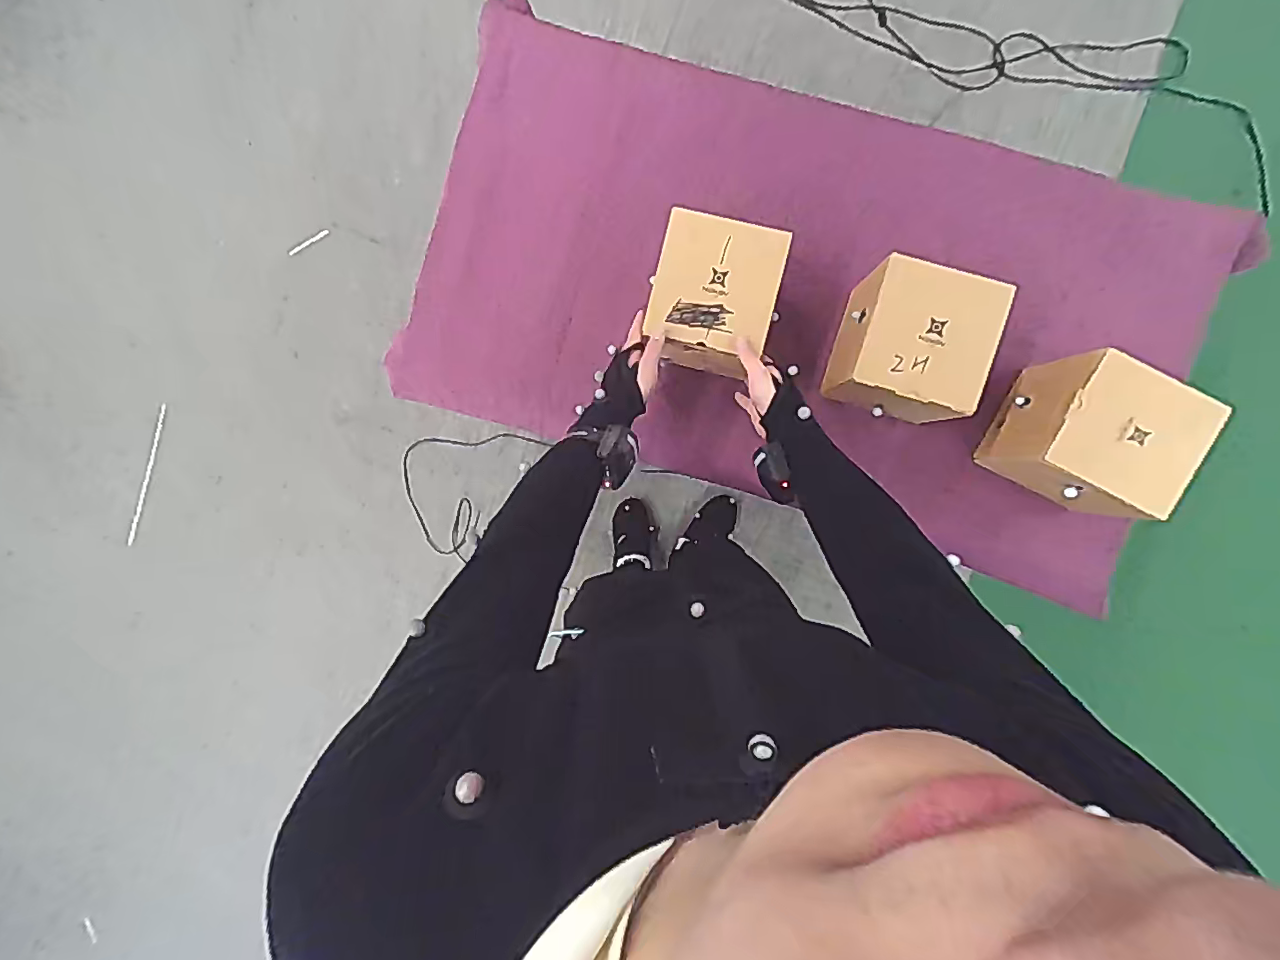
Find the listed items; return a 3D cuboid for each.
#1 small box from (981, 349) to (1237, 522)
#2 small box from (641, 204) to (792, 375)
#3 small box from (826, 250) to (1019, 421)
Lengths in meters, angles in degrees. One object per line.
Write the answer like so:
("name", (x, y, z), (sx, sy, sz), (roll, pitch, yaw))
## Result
("small box", (0.638, -0.062, 0.762), (0.179, 0.176, 0.168), (28, 95, 3))
("small box", (0.106, -0.264, 0.792), (0.168, 0.176, 0.179), (15, 93, 3))
("small box", (0.385, -0.194, 0.774), (0.168, 0.176, 0.179), (18, 94, 4))
